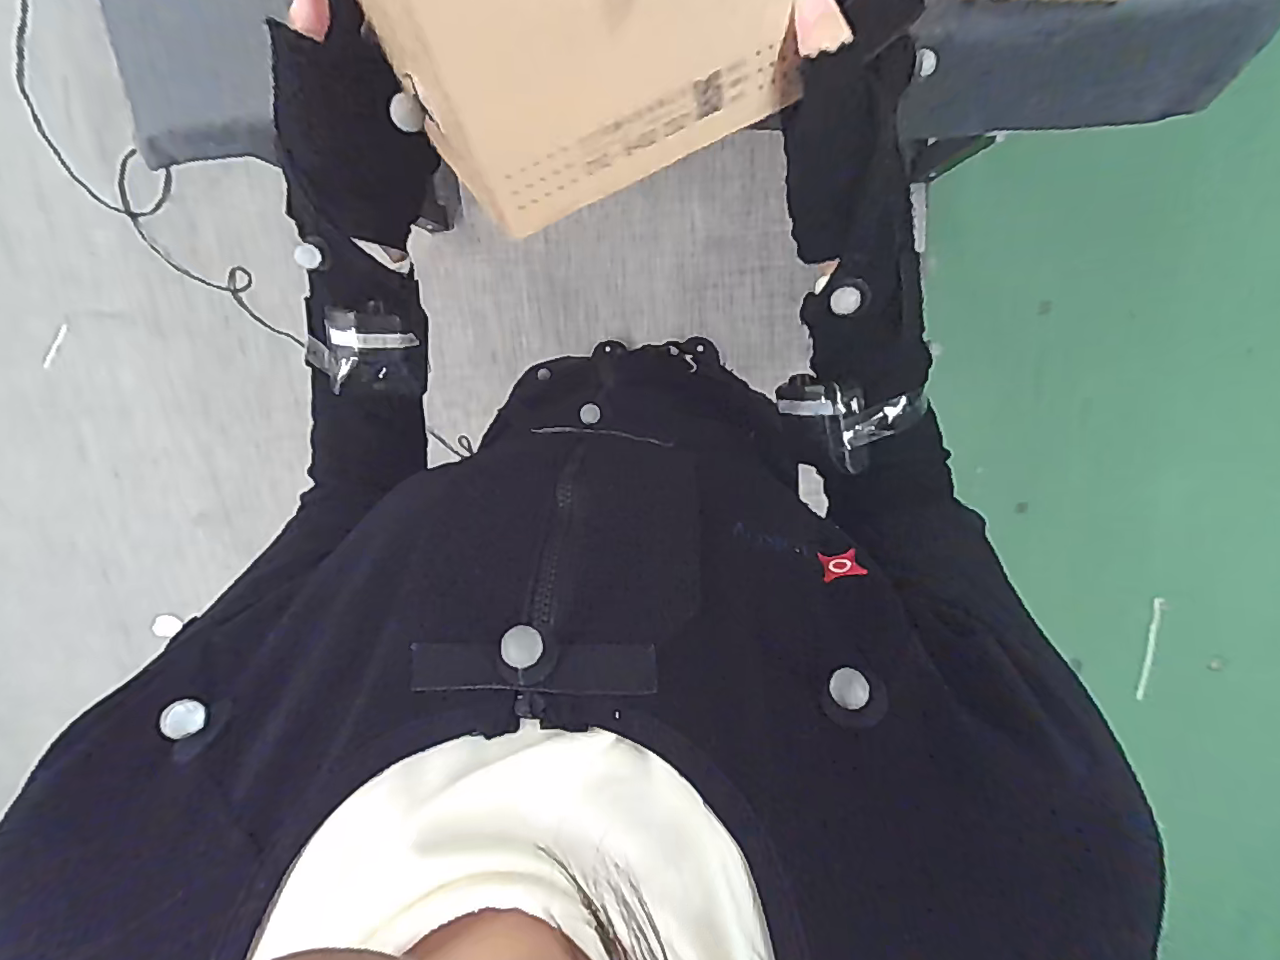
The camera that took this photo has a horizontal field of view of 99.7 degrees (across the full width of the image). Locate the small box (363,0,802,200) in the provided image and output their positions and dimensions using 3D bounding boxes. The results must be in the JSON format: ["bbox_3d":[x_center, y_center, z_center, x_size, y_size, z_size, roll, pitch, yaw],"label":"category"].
[{"bbox_3d":[-0.043,-0.255,0.238,0.168,0.179,0.176,-32,142,-8],"label":"small box"}]
